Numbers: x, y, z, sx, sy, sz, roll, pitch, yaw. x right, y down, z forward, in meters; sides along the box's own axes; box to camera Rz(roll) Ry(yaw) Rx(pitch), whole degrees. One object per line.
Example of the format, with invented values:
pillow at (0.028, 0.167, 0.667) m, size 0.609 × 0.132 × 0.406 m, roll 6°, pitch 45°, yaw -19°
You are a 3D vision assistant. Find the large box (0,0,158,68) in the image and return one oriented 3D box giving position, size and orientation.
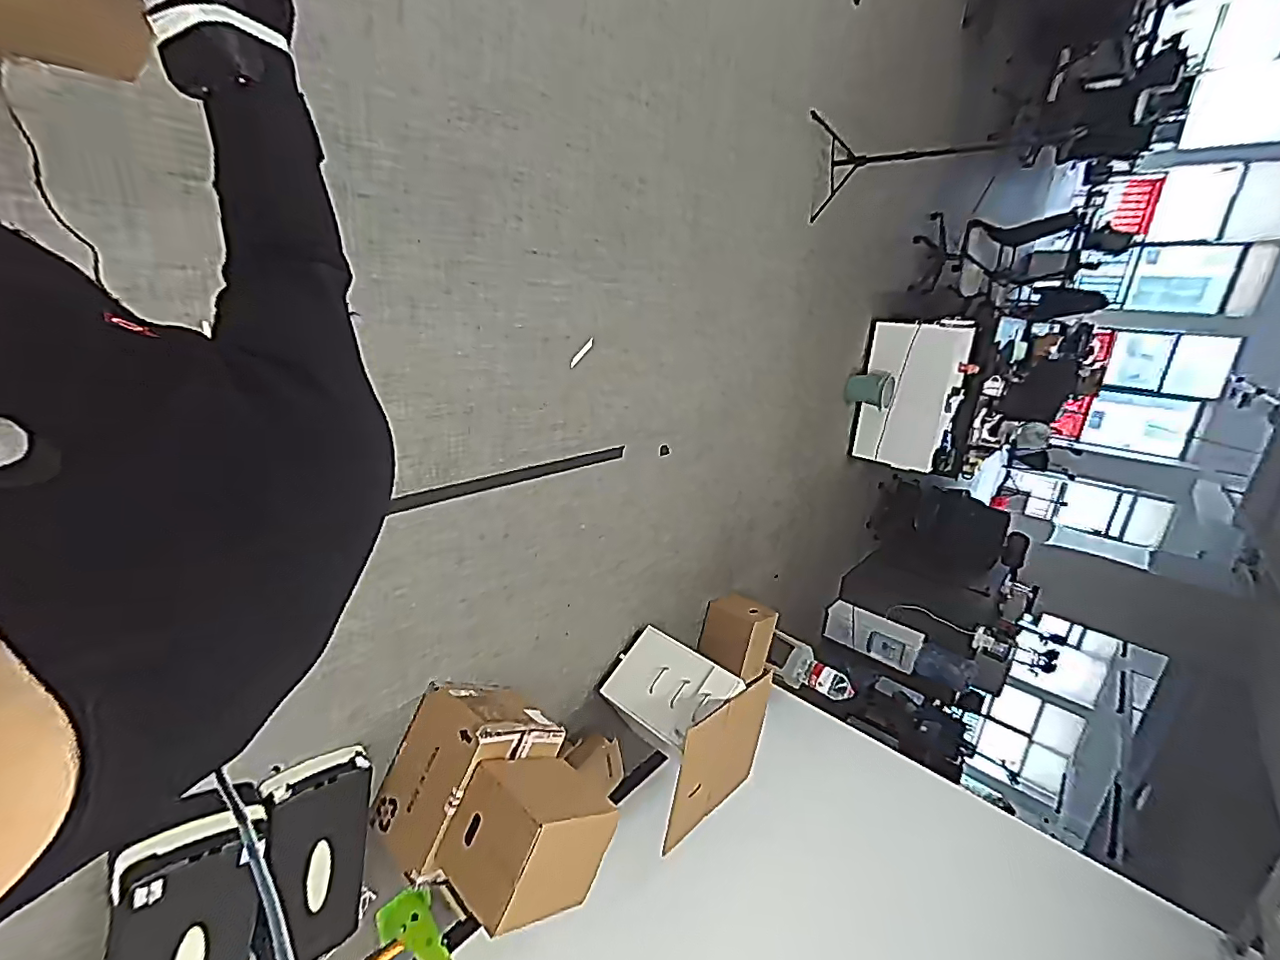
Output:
large box at (-0.548, -0.480, 0.271) m, size 0.408 × 0.320 × 0.320 m, roll -18°, pitch 118°, yaw -45°
